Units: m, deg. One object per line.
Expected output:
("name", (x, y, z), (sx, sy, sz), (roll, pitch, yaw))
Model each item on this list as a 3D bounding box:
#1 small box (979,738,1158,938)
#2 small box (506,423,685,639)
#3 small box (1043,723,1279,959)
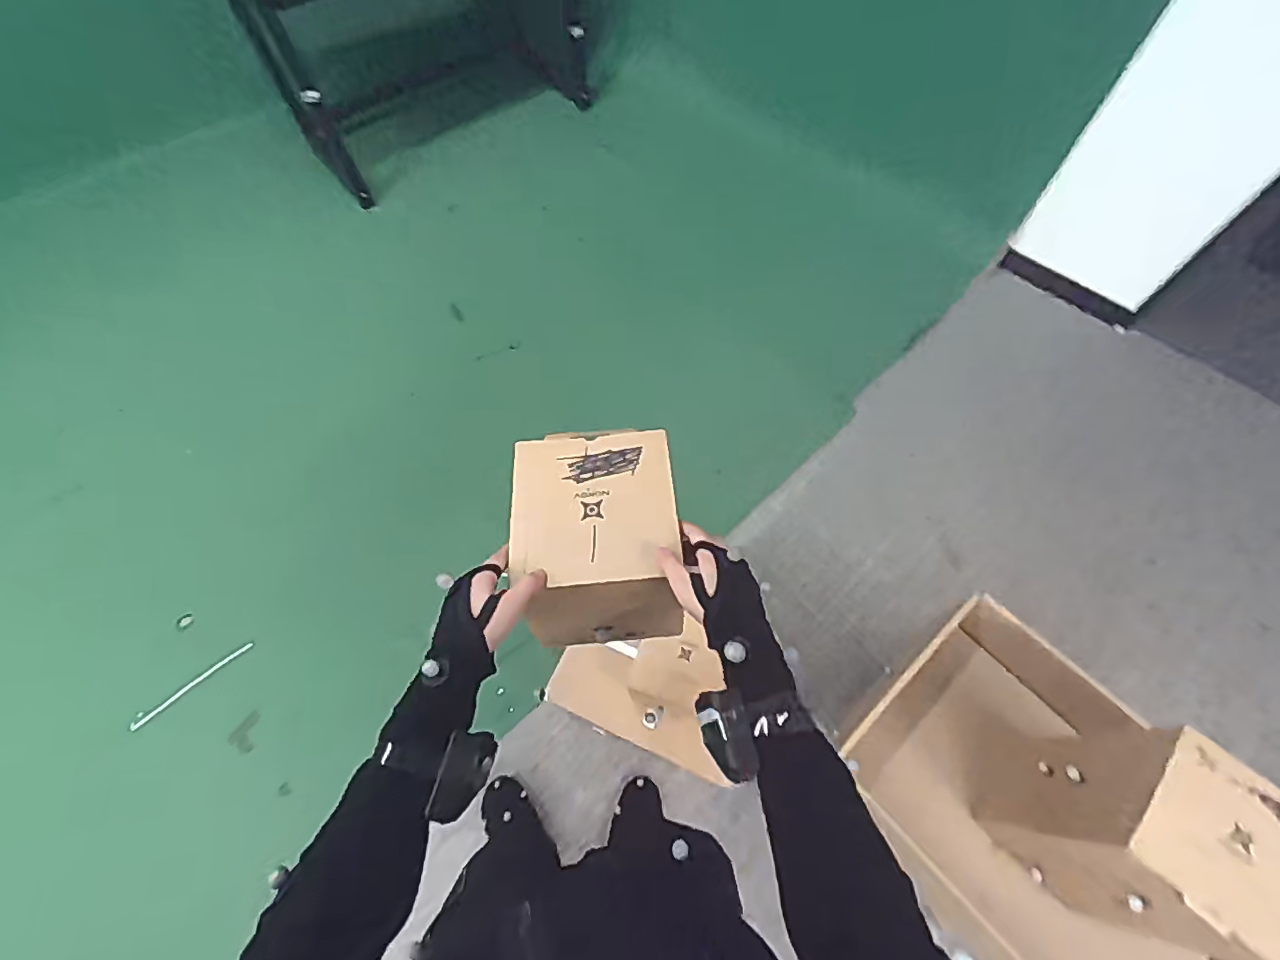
("small box", (0.648, 0.505, 0.796), (0.179, 0.176, 0.168), (-39, 67, -17))
("small box", (-0.043, 0.061, 0.602), (0.168, 0.176, 0.179), (-5, 56, 0))
("small box", (0.640, 0.426, 0.653), (0.179, 0.176, 0.168), (-42, 69, -18))
